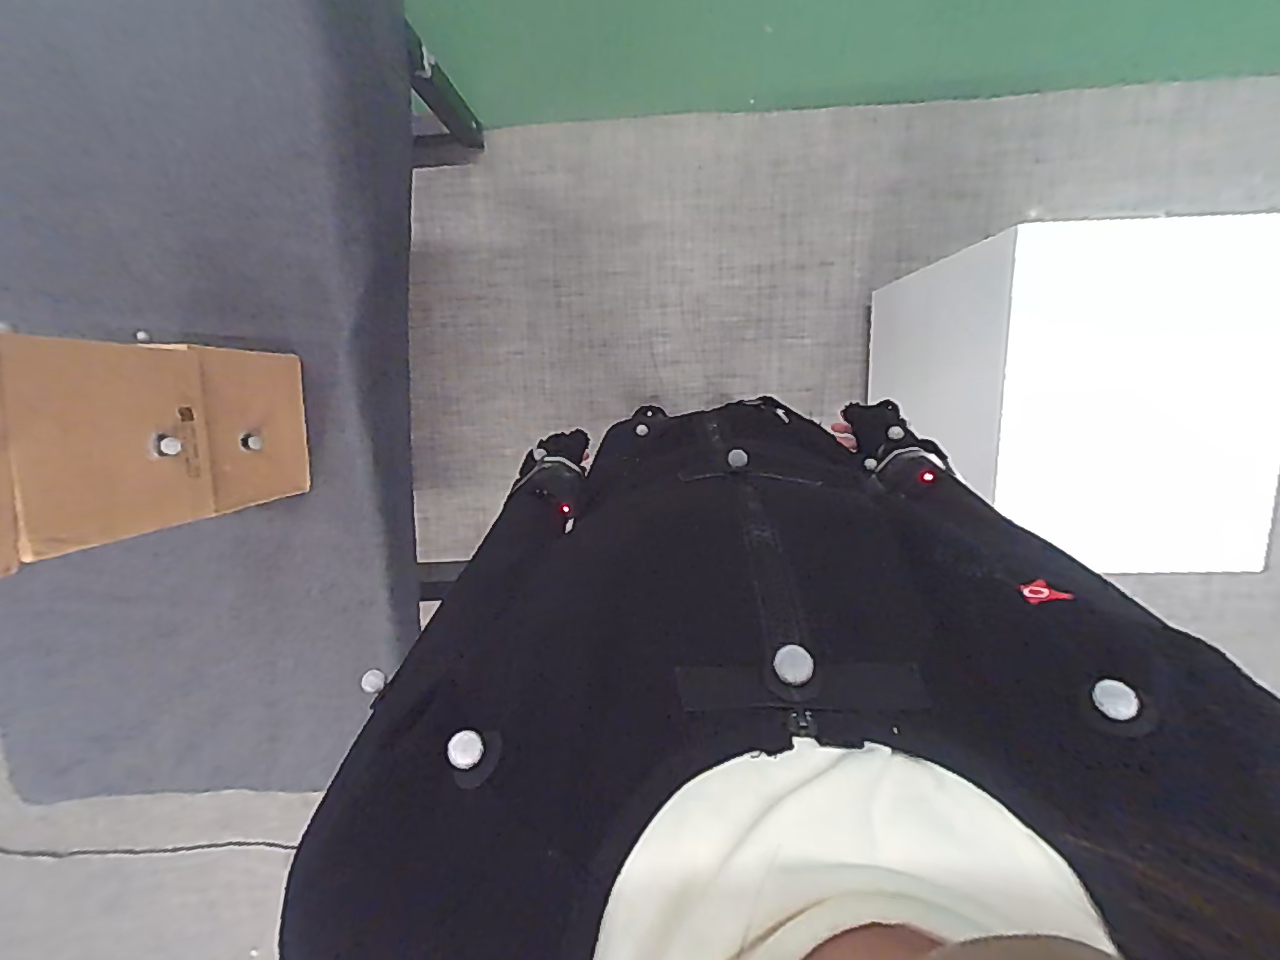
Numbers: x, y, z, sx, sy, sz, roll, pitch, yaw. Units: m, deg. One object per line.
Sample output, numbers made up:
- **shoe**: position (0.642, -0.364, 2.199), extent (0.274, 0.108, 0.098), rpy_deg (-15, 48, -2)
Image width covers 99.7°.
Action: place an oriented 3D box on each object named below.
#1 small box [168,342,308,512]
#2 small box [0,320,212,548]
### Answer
- **small box**: position (-0.521, -0.069, 0.631), extent (0.168, 0.176, 0.179), rpy_deg (1, 100, 4)
- **small box**: position (-0.529, -0.042, 0.469), extent (0.179, 0.176, 0.168), rpy_deg (-1, 99, 5)
